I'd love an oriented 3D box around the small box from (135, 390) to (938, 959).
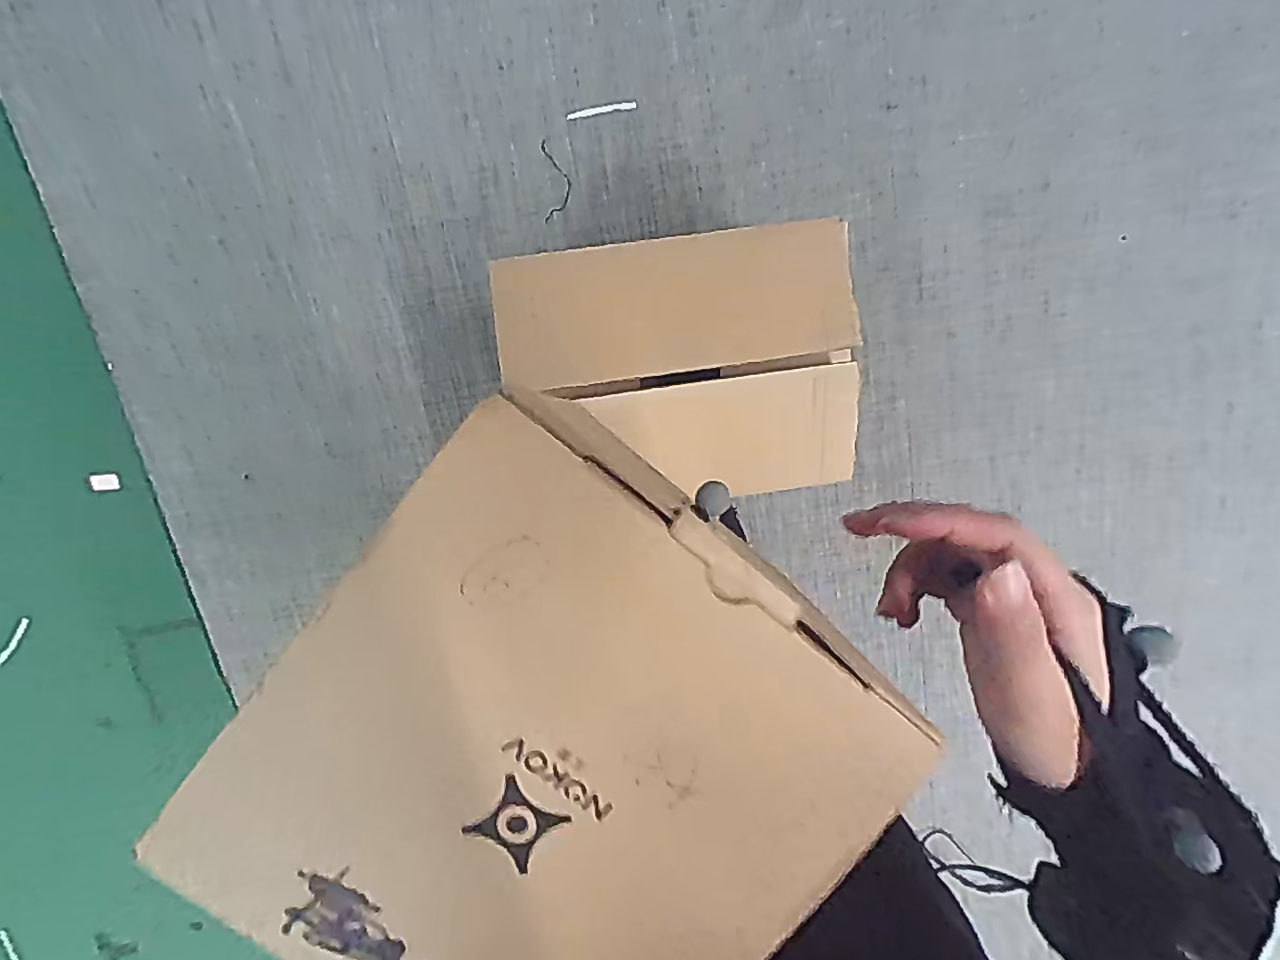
[{"bbox_3d":[-0.030,0.081,0.234,0.168,0.176,0.179,39,95,-5],"label":"small box"}]
